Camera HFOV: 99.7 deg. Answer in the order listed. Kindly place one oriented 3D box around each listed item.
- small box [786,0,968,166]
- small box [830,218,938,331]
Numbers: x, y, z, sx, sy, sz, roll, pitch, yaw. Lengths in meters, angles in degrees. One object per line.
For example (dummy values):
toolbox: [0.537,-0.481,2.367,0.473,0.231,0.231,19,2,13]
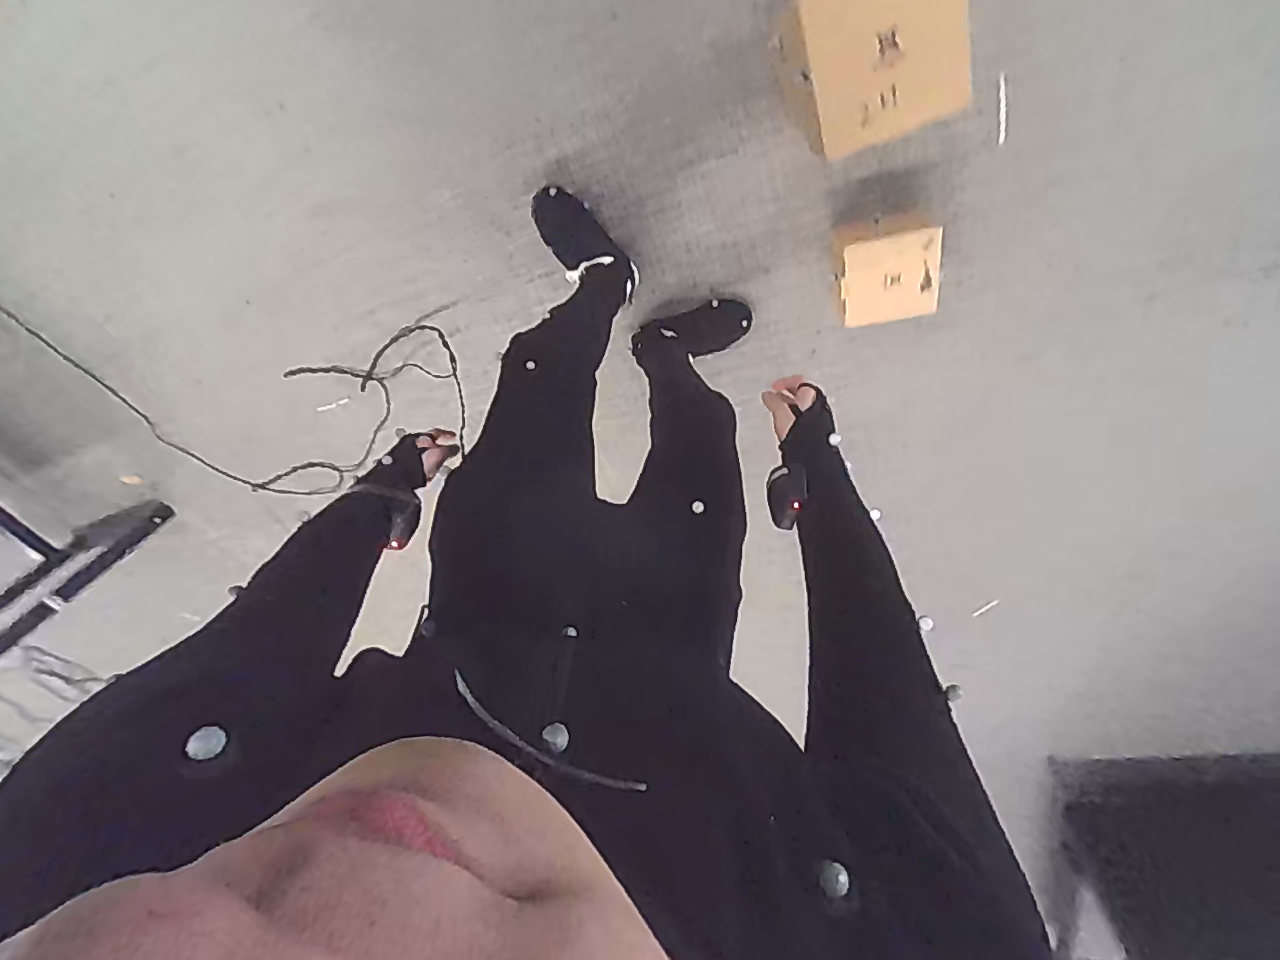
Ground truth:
small box: [0.287,-0.524,0.677,0.168,0.176,0.179,-14,123,17]
small box: [0.495,-0.428,1.124,0.179,0.176,0.168,-6,125,14]
